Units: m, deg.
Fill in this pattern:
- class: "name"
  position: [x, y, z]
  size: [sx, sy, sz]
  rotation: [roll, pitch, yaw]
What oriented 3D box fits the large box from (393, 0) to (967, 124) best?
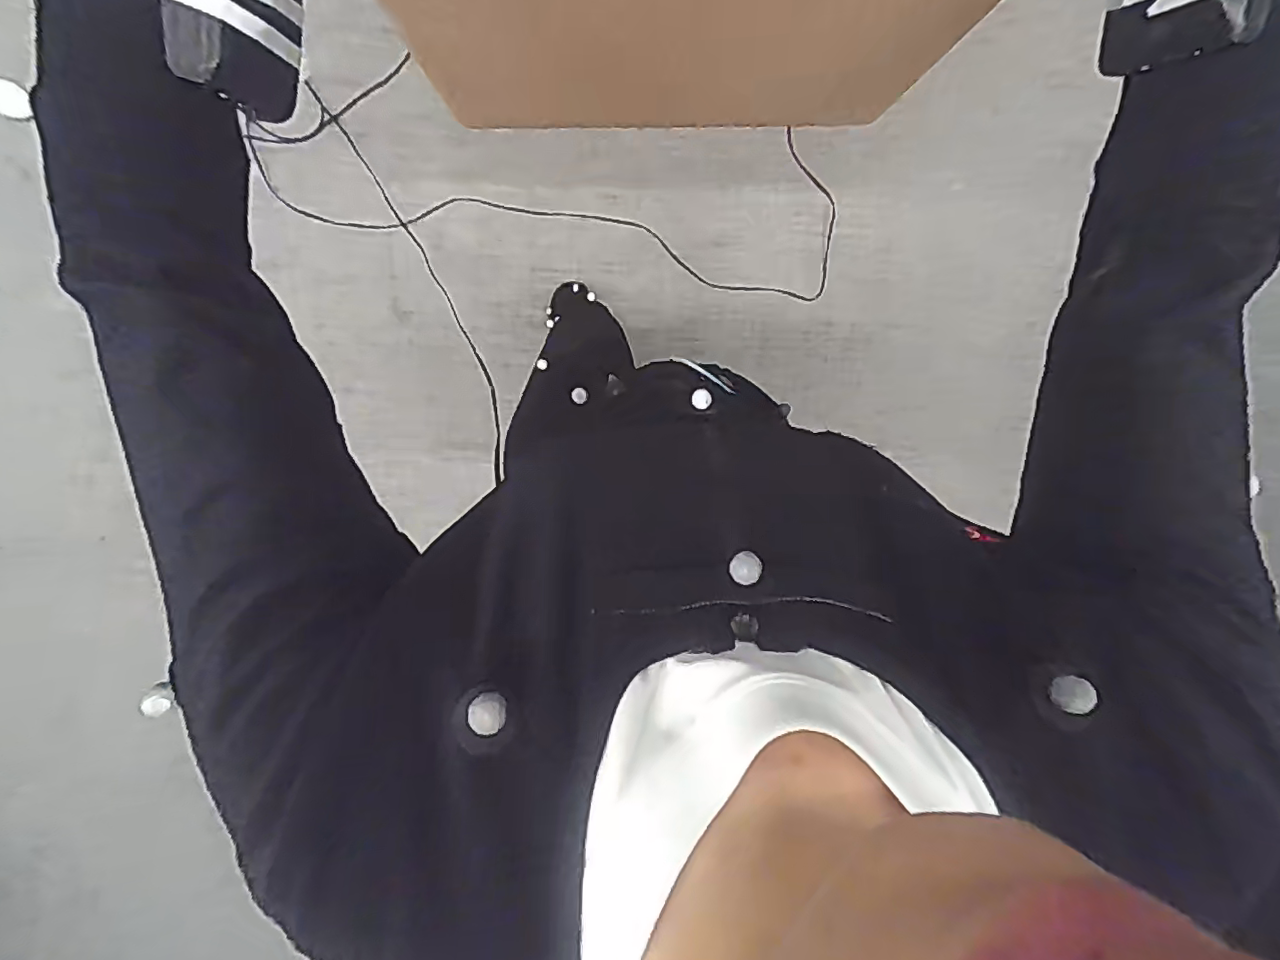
- class: "large box"
  position: [0.026, -0.471, 0.353]
  size: [0.408, 0.320, 0.320]
  rotation: [-2, 102, -3]
